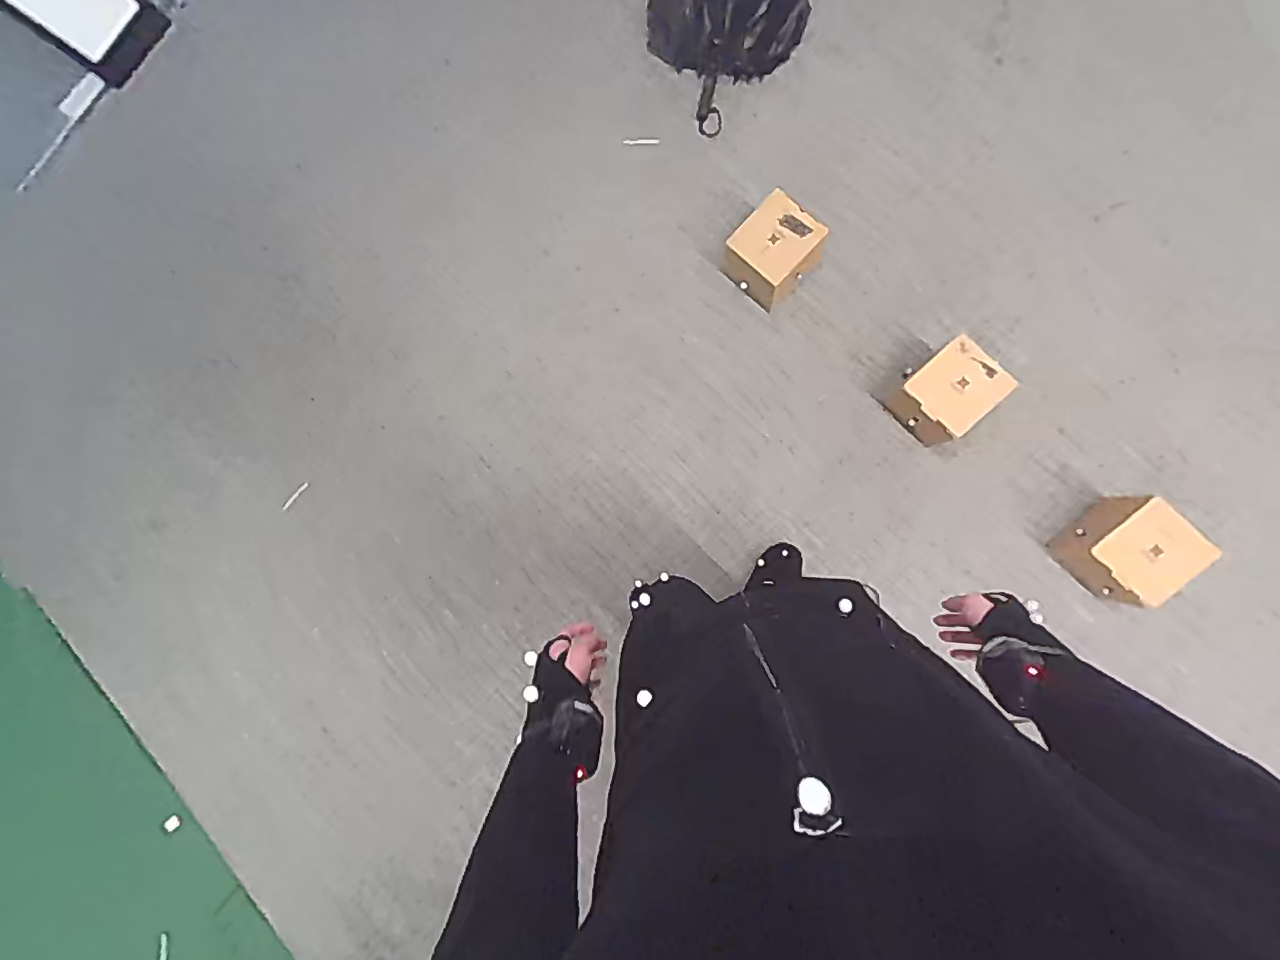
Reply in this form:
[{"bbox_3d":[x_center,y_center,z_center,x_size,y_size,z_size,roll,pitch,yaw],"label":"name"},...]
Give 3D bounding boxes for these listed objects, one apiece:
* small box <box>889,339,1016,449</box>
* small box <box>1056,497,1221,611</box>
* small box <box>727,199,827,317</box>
[{"bbox_3d":[0.710,-0.190,1.260,0.179,0.176,0.168,-44,81,6],"label":"small box"},{"bbox_3d":[1.062,0.155,1.178,0.179,0.176,0.168,-44,81,4],"label":"small box"},{"bbox_3d":[0.332,-0.543,1.344,0.168,0.176,0.179,44,96,10],"label":"small box"}]
